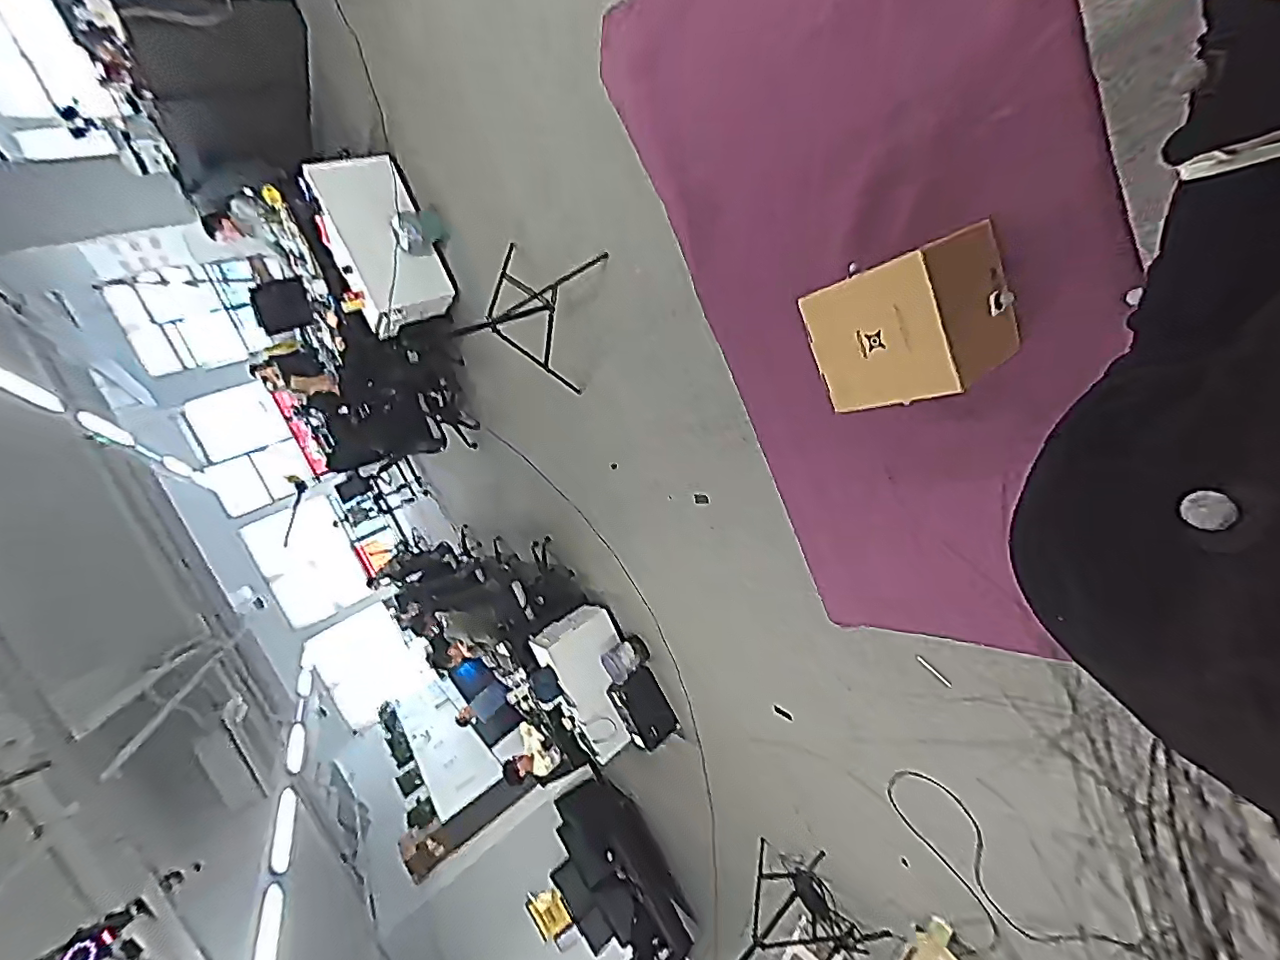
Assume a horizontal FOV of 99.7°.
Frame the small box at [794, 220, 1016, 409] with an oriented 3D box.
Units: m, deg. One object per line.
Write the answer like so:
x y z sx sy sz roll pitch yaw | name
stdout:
0.340 -0.207 0.698 0.179 0.176 0.168 -6 112 58 | small box
